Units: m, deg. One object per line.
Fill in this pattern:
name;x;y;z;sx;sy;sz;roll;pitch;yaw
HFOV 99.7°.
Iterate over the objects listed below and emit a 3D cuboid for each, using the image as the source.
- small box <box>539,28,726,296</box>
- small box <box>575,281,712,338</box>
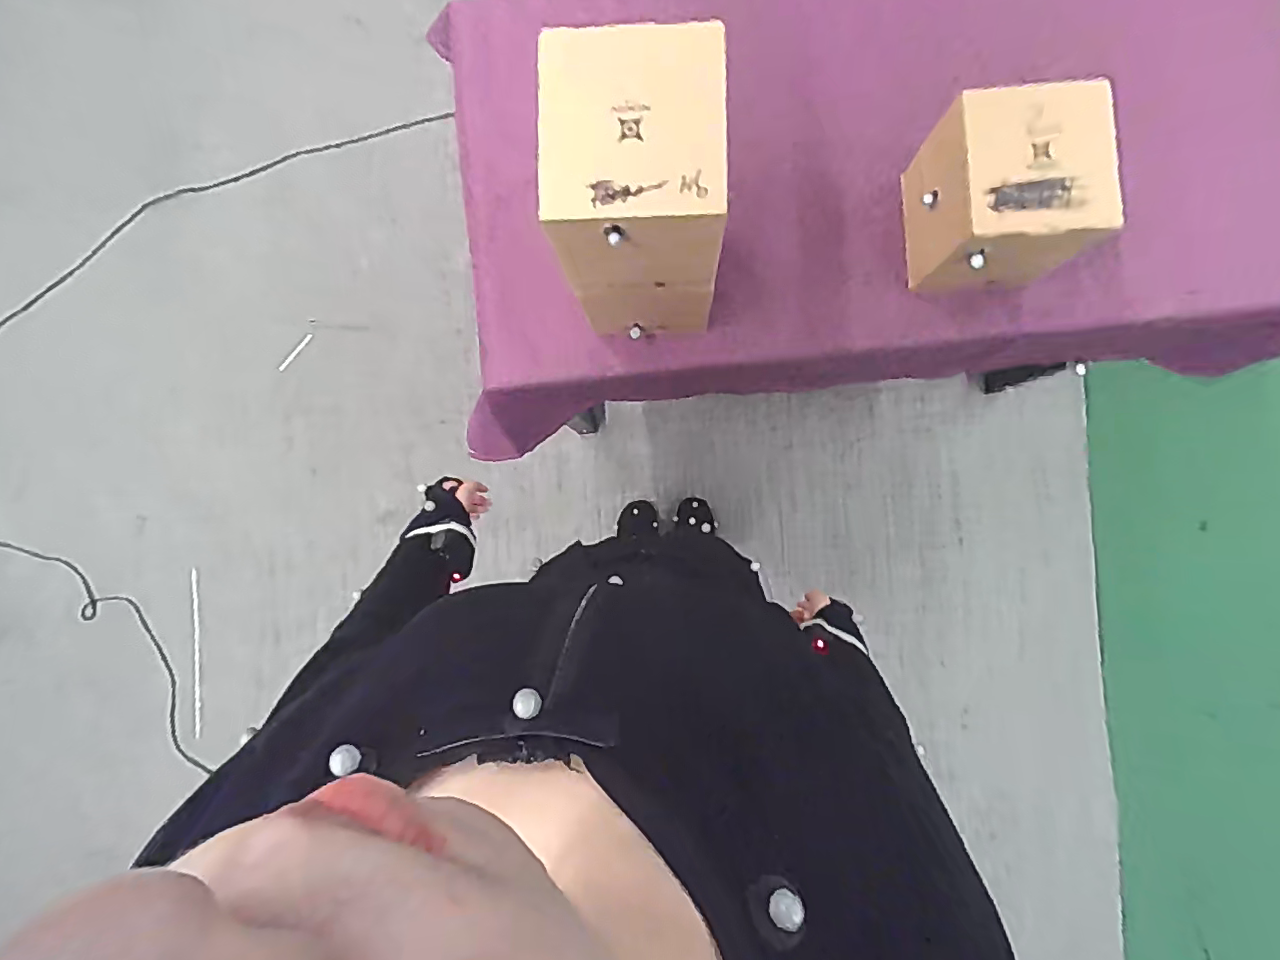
small box;-0.001;-0.308;0.556;0.168;0.176;0.179;0;86;5
small box;0.009;-0.301;0.721;0.168;0.176;0.179;0;88;4
